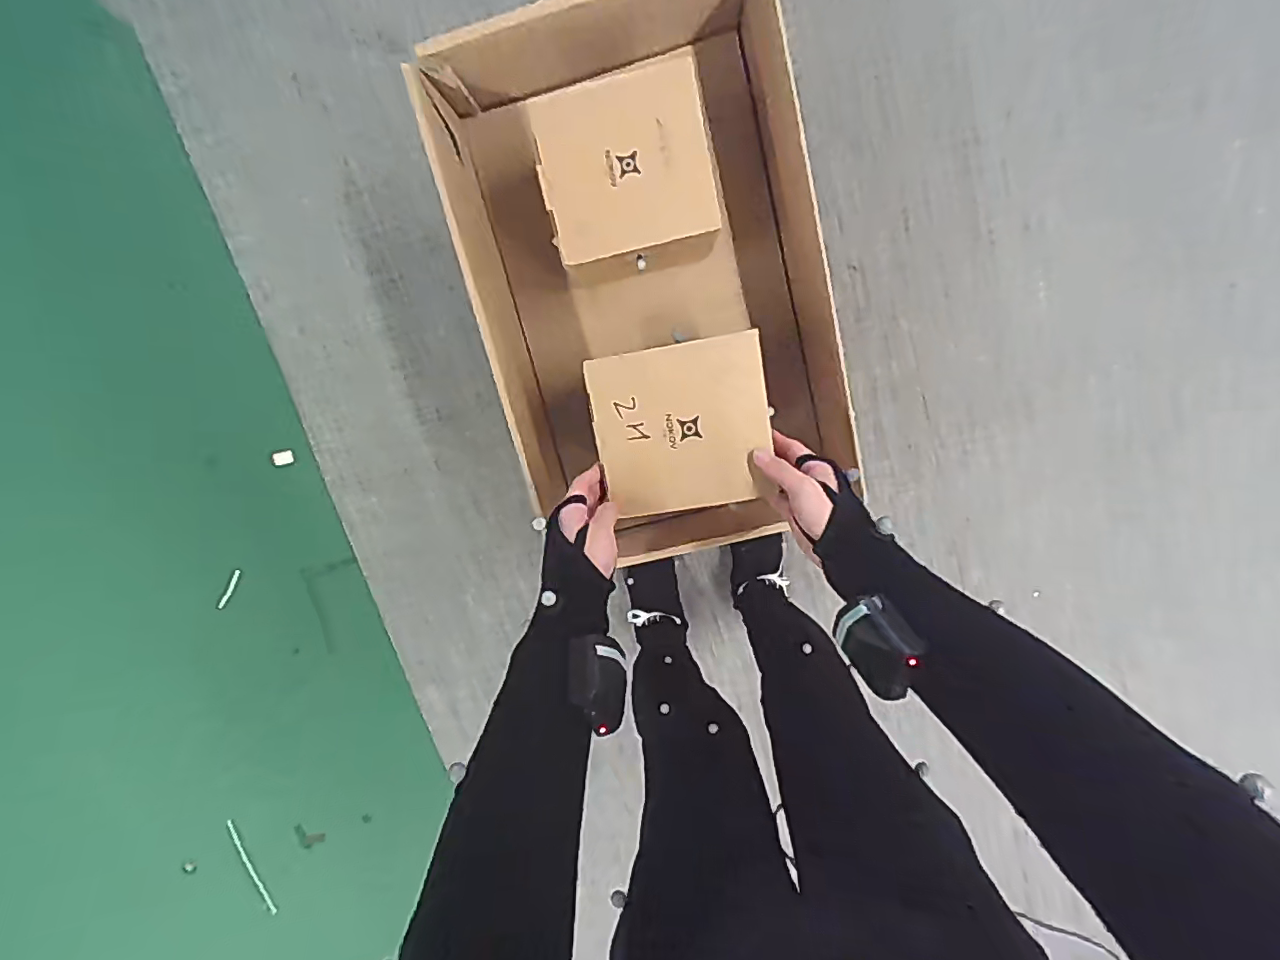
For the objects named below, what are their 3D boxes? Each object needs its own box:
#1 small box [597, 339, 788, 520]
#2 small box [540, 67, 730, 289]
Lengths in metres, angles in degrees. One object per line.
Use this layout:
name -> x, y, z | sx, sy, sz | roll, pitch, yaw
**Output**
small box -> 0.058, -0.063, 0.616 | 0.179, 0.176, 0.168 | -8, 100, 7
small box -> 0.000, -0.334, 0.638 | 0.179, 0.176, 0.168 | -11, 101, 3
